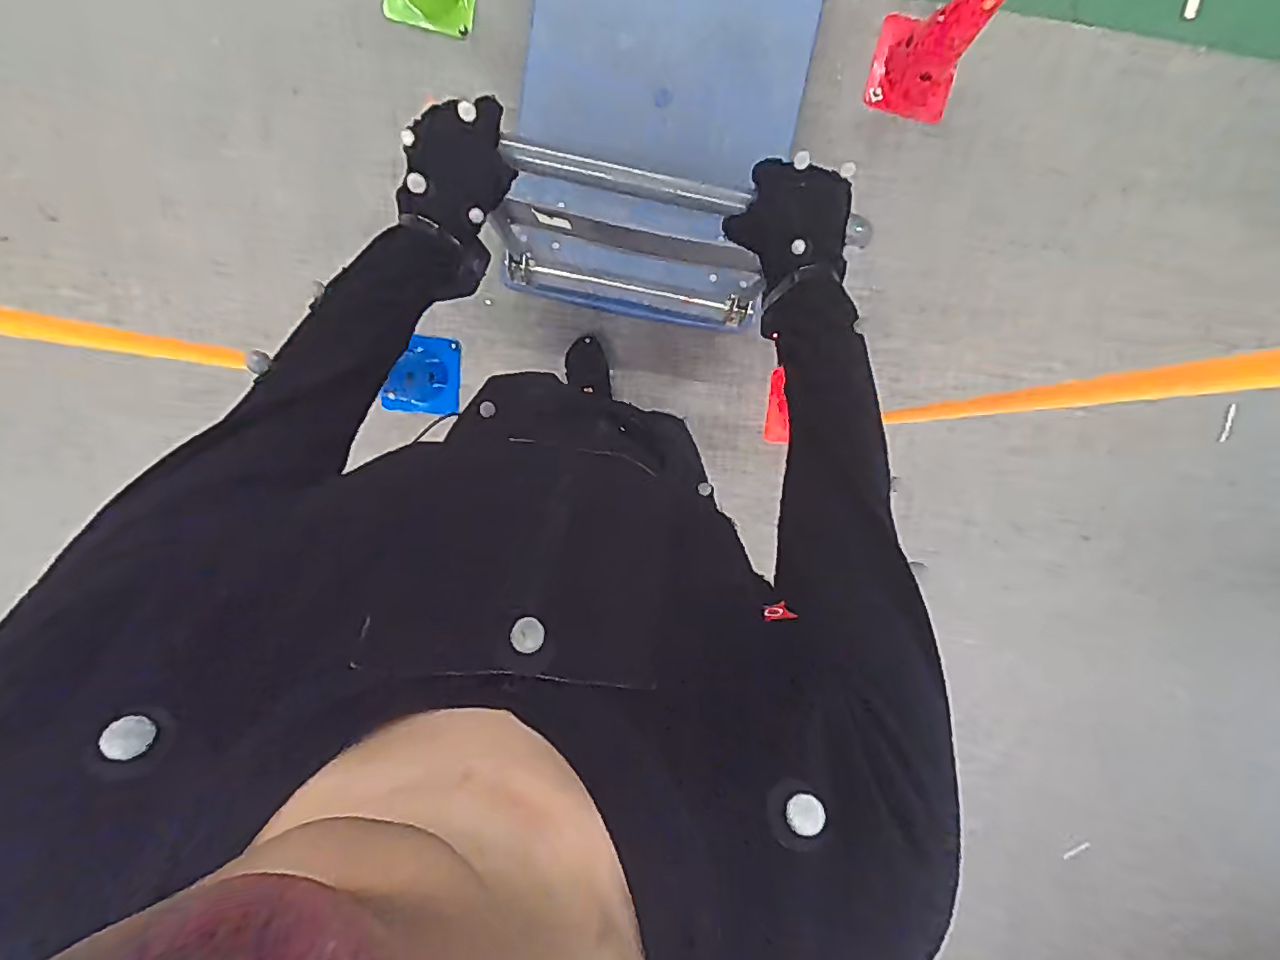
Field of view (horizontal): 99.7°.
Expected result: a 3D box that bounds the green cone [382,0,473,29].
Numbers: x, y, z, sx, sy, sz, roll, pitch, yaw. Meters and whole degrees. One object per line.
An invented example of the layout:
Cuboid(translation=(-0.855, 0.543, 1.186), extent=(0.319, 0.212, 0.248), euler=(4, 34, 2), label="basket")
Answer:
Cuboid(translation=(-0.466, -1.107, 1.045), extent=(0.202, 0.368, 0.200), euler=(11, 101, -4), label="green cone")

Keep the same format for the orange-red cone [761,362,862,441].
Cuboid(translation=(0.436, -0.174, 1.285), extent=(0.199, 0.360, 0.198), euler=(6, 101, -2), label="orange-red cone")
